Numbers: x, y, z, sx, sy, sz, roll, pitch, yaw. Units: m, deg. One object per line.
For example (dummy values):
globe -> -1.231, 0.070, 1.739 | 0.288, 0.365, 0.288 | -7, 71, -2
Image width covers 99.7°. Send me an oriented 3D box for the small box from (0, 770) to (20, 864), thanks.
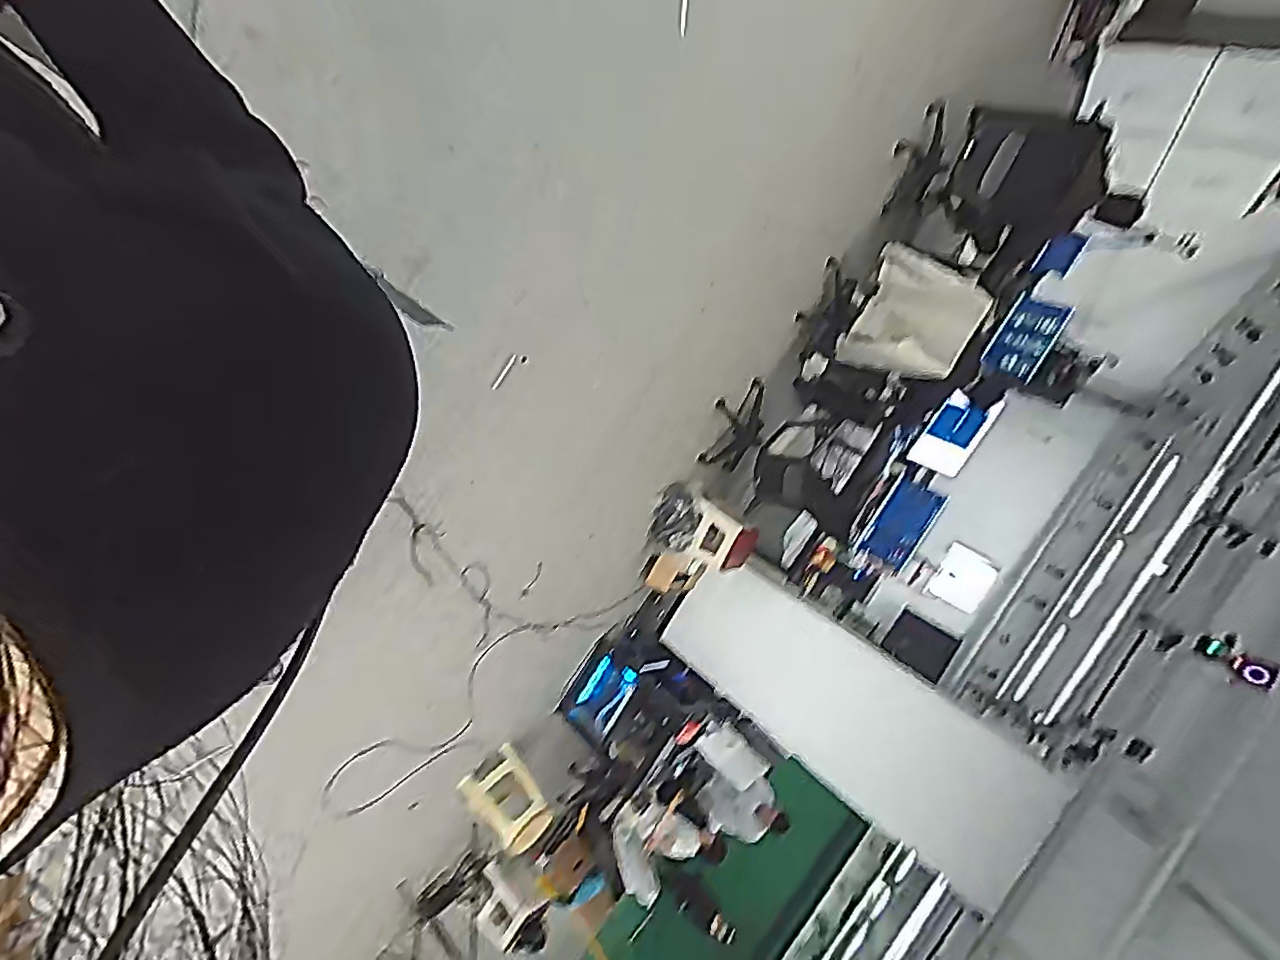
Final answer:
small box -> -0.833, 0.427, 0.581 | 0.179, 0.176, 0.168 | -58, 150, 4
